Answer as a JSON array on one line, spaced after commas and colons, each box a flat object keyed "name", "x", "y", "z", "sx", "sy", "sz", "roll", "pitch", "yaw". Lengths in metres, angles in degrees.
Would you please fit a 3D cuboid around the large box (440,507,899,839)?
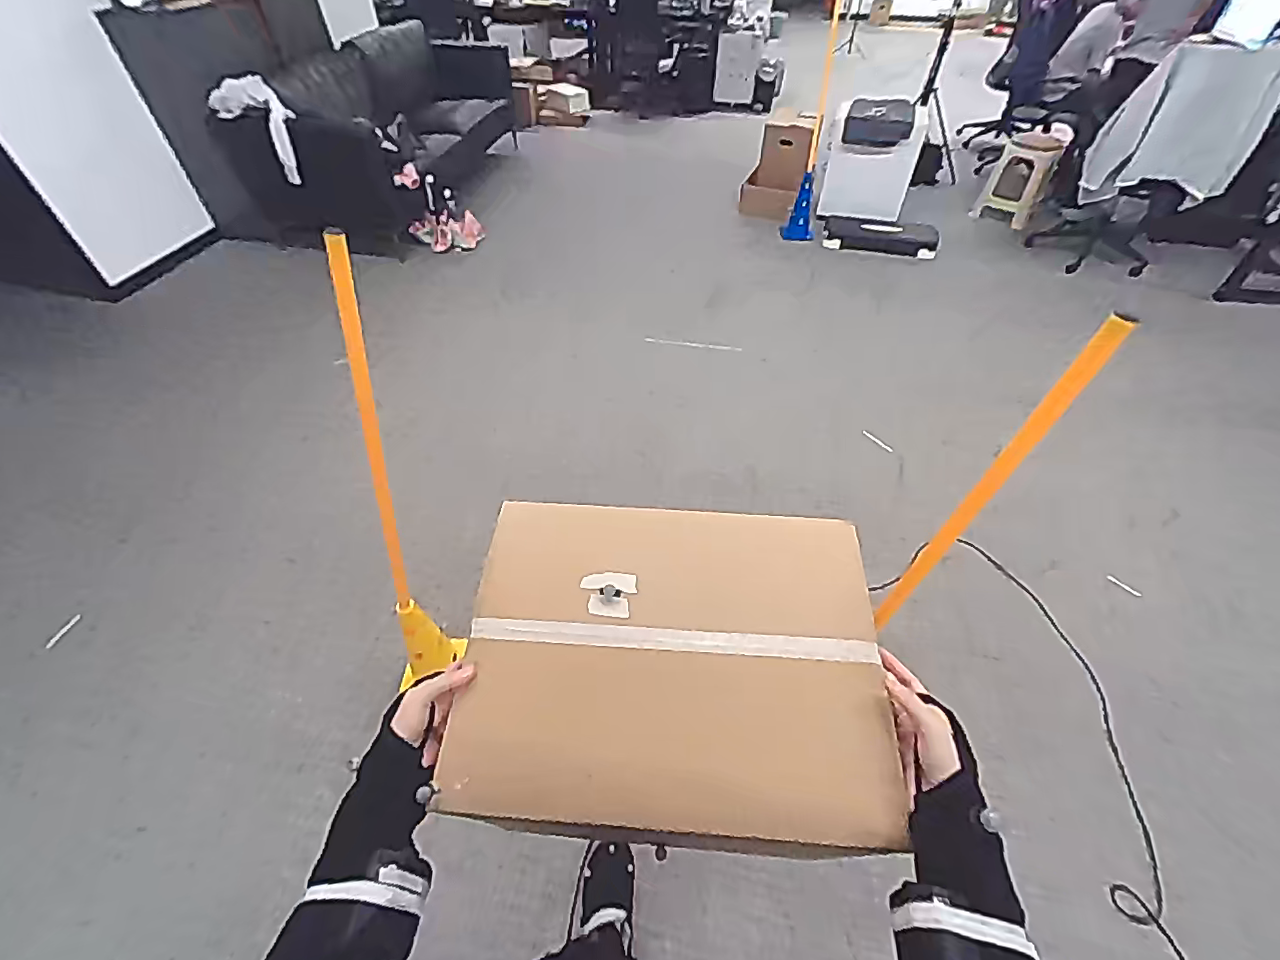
[{"name": "large box", "x": 0.035, "y": 0.248, "z": 0.670, "sx": 0.408, "sy": 0.320, "sz": 0.320, "roll": 2, "pitch": 53, "yaw": 4}]
